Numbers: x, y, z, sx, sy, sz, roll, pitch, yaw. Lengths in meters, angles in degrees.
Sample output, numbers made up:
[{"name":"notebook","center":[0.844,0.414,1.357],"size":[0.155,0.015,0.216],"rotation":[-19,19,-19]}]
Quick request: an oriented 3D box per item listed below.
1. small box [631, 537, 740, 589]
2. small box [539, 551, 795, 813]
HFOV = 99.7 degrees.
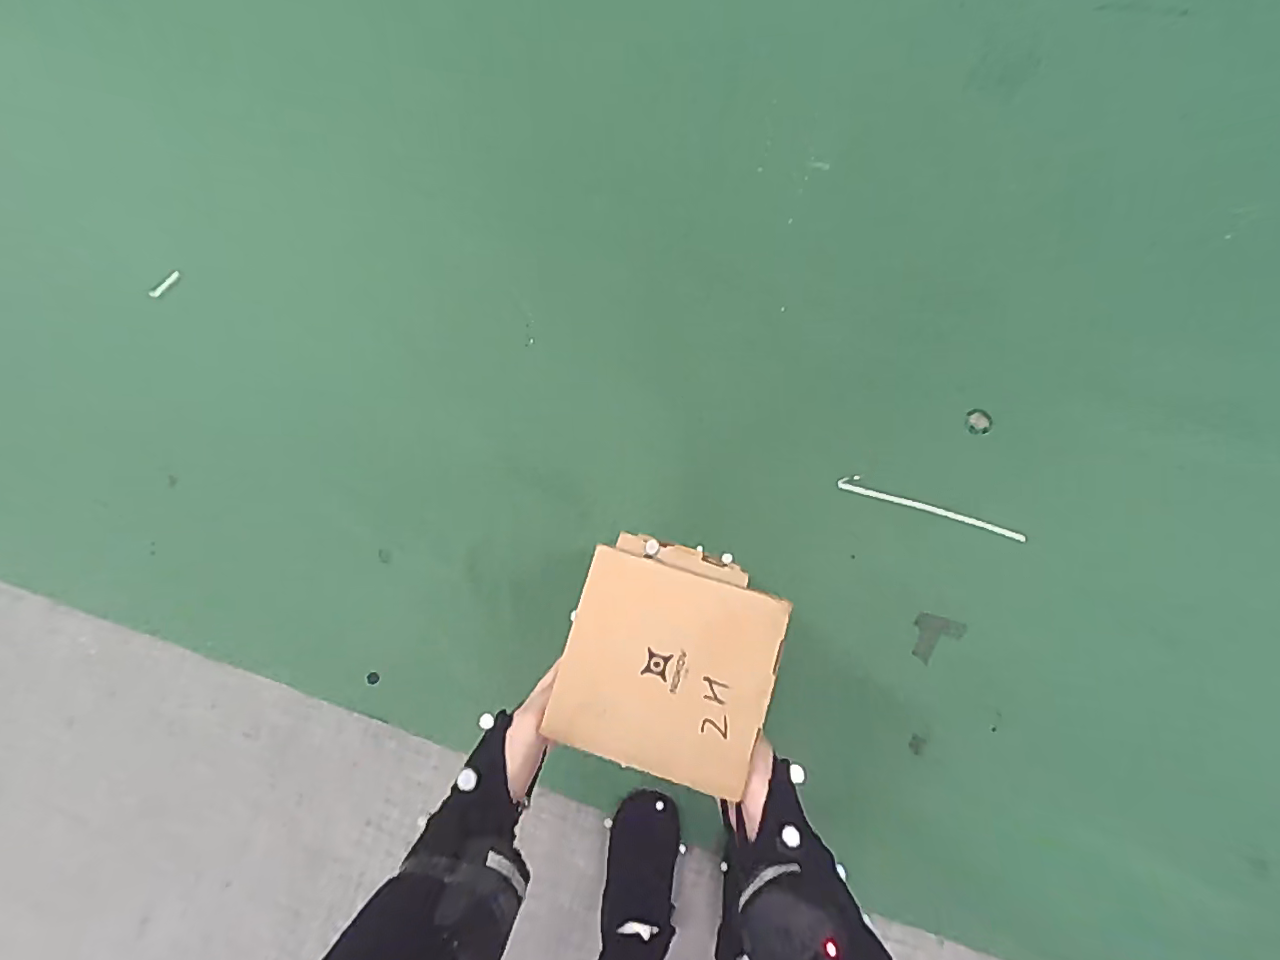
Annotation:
[{"name":"small box","center":[0.057,0.203,0.877],"size":[0.168,0.176,0.179],"rotation":[17,83,9]},{"name":"small box","center":[0.027,0.174,0.520],"size":[0.179,0.176,0.168],"rotation":[16,84,5]}]
